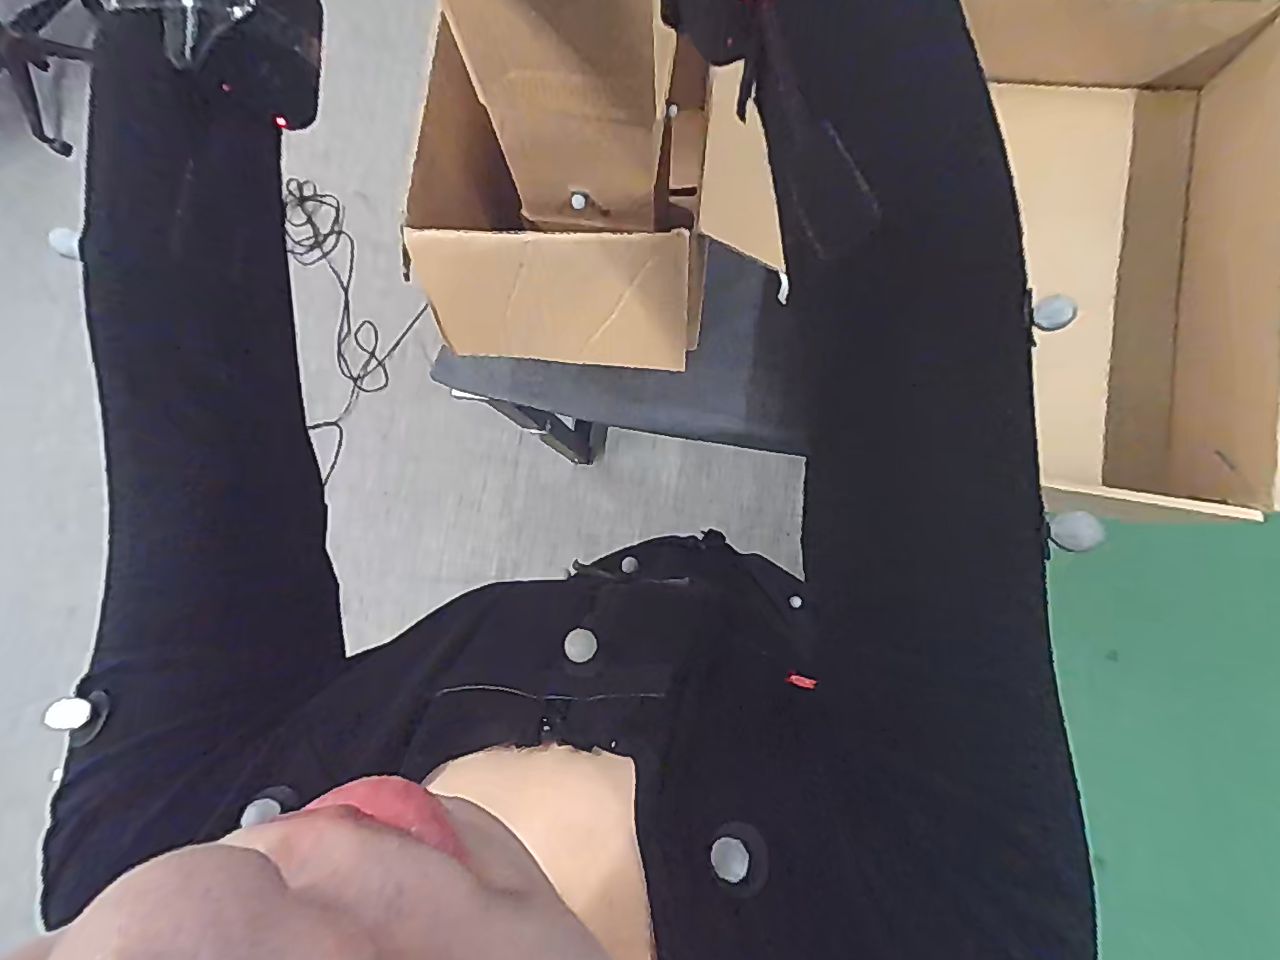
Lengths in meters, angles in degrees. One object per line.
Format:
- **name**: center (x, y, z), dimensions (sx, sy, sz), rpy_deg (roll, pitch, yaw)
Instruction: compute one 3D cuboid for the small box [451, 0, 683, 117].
- **small box**: center (-0.058, -0.439, 0.444), dimensions (0.179, 0.176, 0.168), rpy_deg (9, 82, 3)
